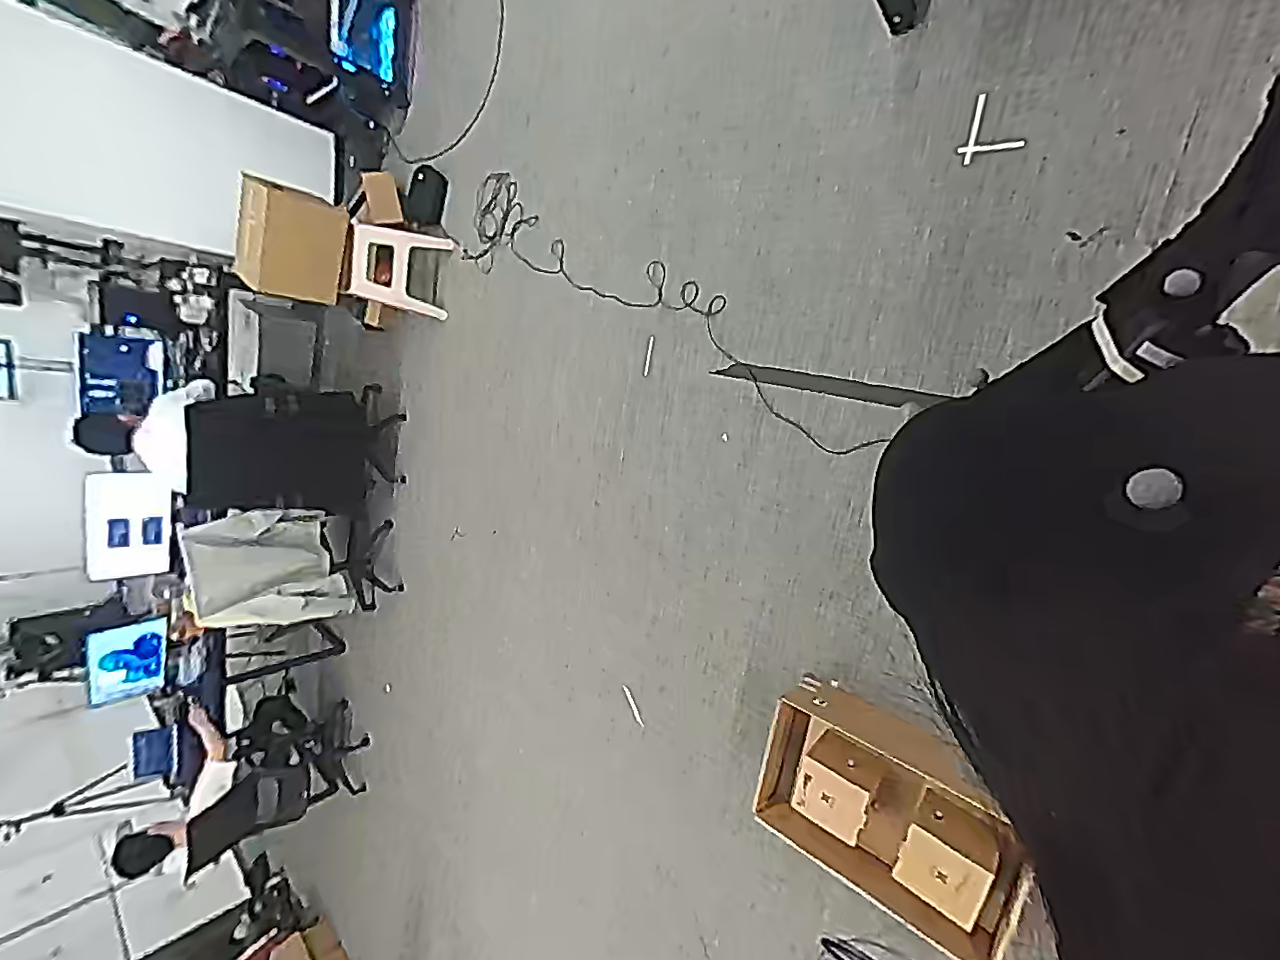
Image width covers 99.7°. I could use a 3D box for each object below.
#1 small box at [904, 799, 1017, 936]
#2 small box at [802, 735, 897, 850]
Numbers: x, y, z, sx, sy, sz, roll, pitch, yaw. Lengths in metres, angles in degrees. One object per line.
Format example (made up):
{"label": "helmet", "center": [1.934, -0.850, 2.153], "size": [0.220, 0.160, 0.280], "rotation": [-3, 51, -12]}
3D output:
{"label": "small box", "center": [0.761, 0.899, 1.281], "size": [0.179, 0.176, 0.168], "rotation": [22, 107, 38]}
{"label": "small box", "center": [0.563, 0.820, 1.443], "size": [0.179, 0.176, 0.168], "rotation": [19, 104, 36]}
